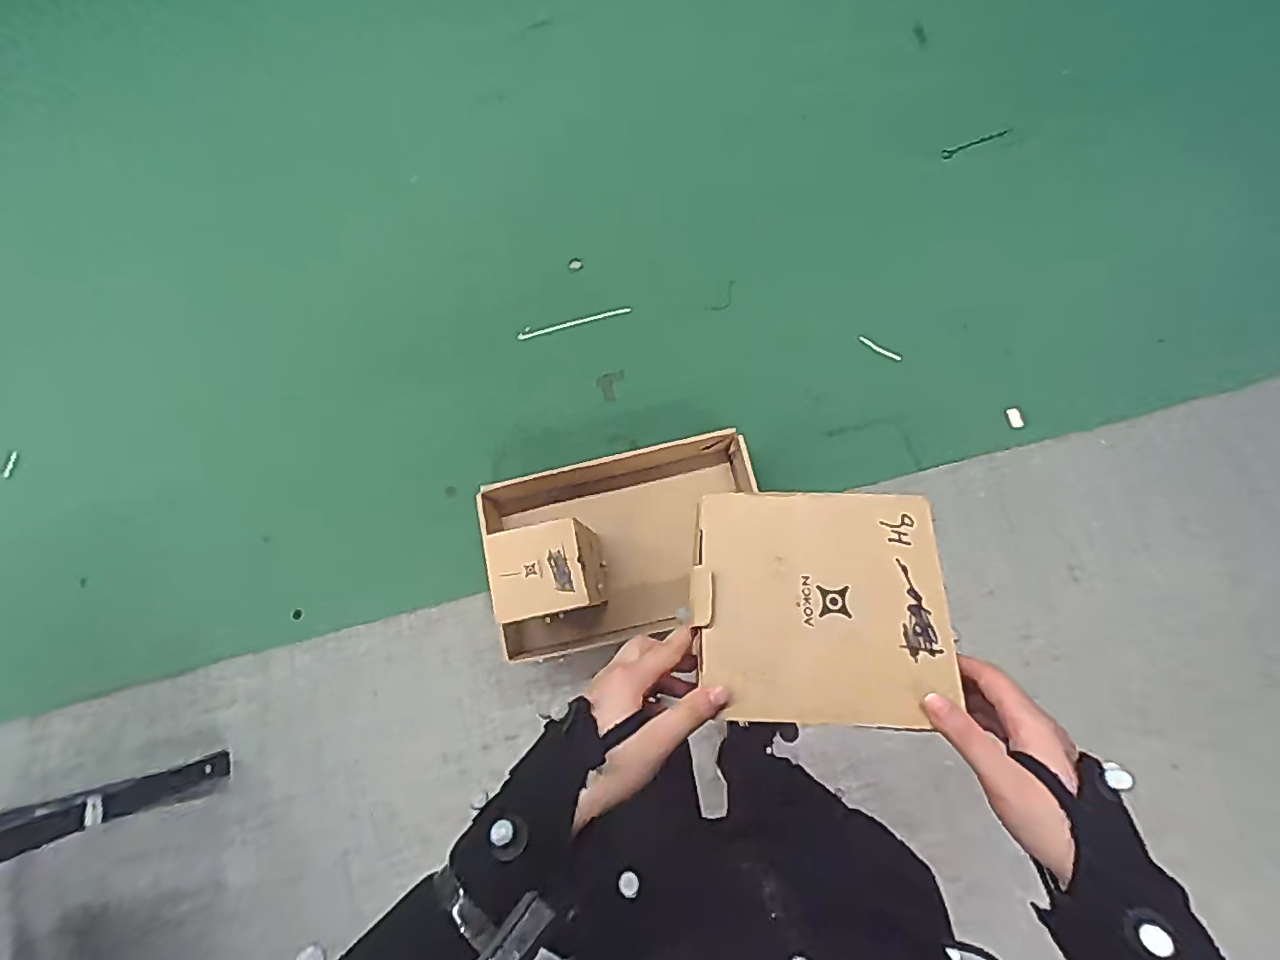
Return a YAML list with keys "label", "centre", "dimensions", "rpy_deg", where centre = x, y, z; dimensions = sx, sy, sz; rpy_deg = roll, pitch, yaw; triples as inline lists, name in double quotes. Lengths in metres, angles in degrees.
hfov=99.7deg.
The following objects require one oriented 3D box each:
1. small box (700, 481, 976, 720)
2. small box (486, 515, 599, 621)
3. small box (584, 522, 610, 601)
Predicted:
- label: "small box"
  centre: [0.139, 0.109, 0.456]
  dimensions: [0.179, 0.176, 0.168]
  rpy_deg: [0, 67, 5]
- label: "small box"
  centre: [-0.180, 0.171, 1.054]
  dimensions: [0.179, 0.176, 0.168]
  rpy_deg: [-12, 78, 1]
- label: "small box"
  centre: [-0.174, 0.201, 1.215]
  dimensions: [0.179, 0.176, 0.168]
  rpy_deg: [-13, 79, -1]
